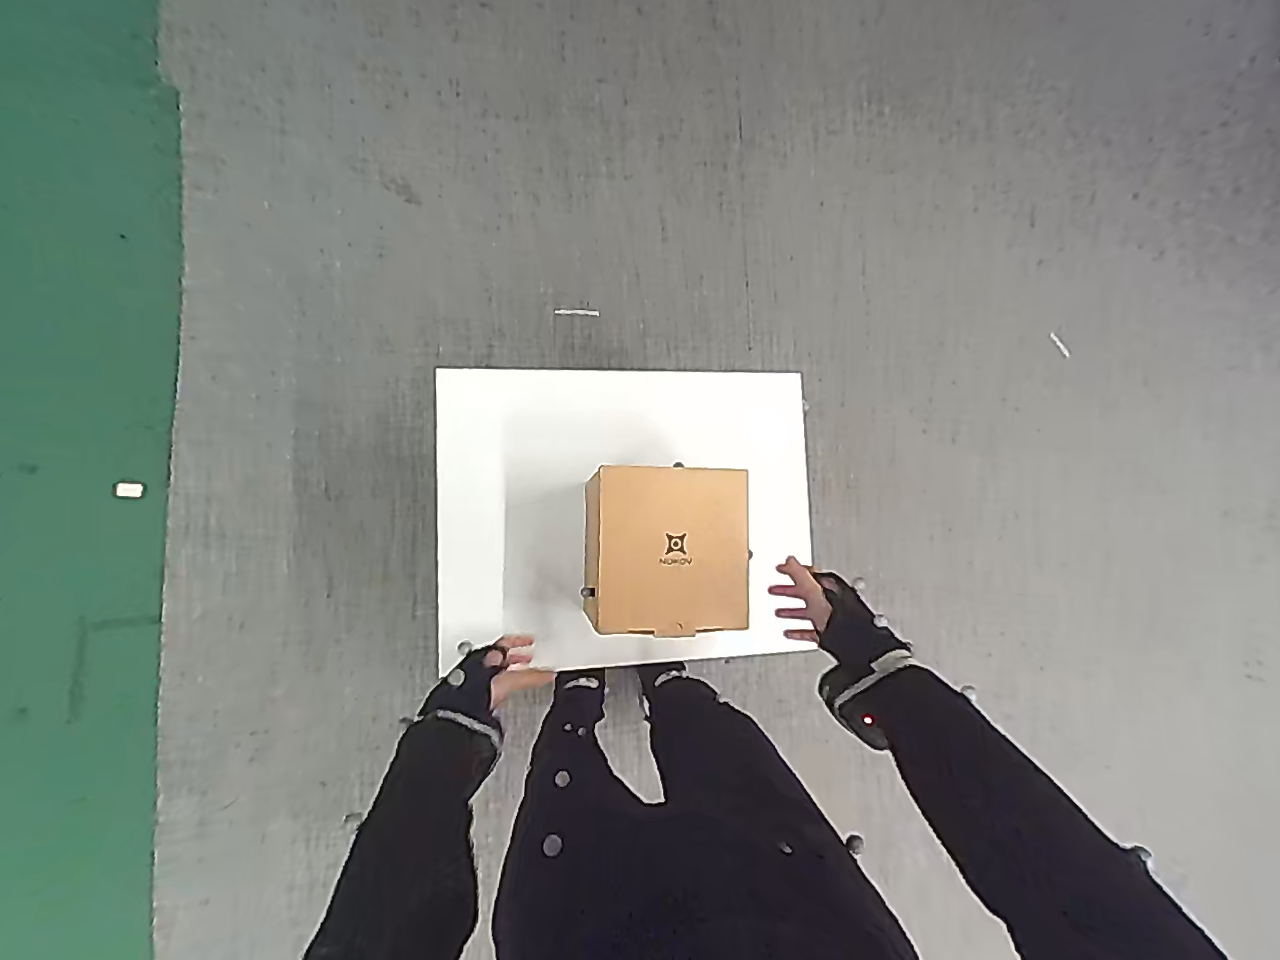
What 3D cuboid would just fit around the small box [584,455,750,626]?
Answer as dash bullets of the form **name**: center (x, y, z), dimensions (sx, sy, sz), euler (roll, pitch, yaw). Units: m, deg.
- **small box**: center (0.022, 0.071, 0.642), dimensions (0.168, 0.176, 0.179), euler (1, 84, -10)
